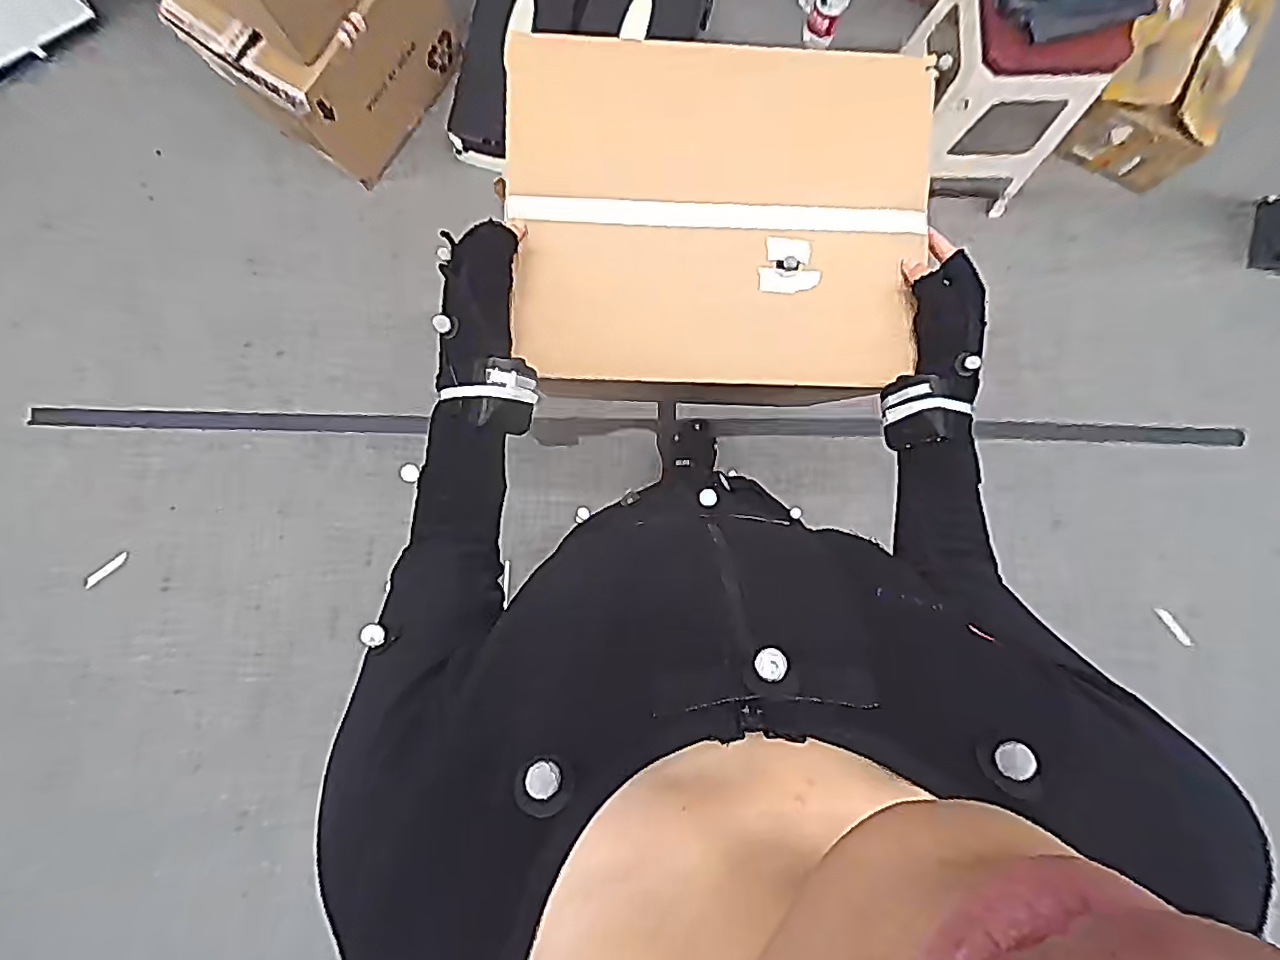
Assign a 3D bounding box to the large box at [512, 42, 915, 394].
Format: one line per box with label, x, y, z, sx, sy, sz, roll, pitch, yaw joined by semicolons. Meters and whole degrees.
large box;0.066;-0.277;0.685;0.408;0.320;0.320;1;95;-3
